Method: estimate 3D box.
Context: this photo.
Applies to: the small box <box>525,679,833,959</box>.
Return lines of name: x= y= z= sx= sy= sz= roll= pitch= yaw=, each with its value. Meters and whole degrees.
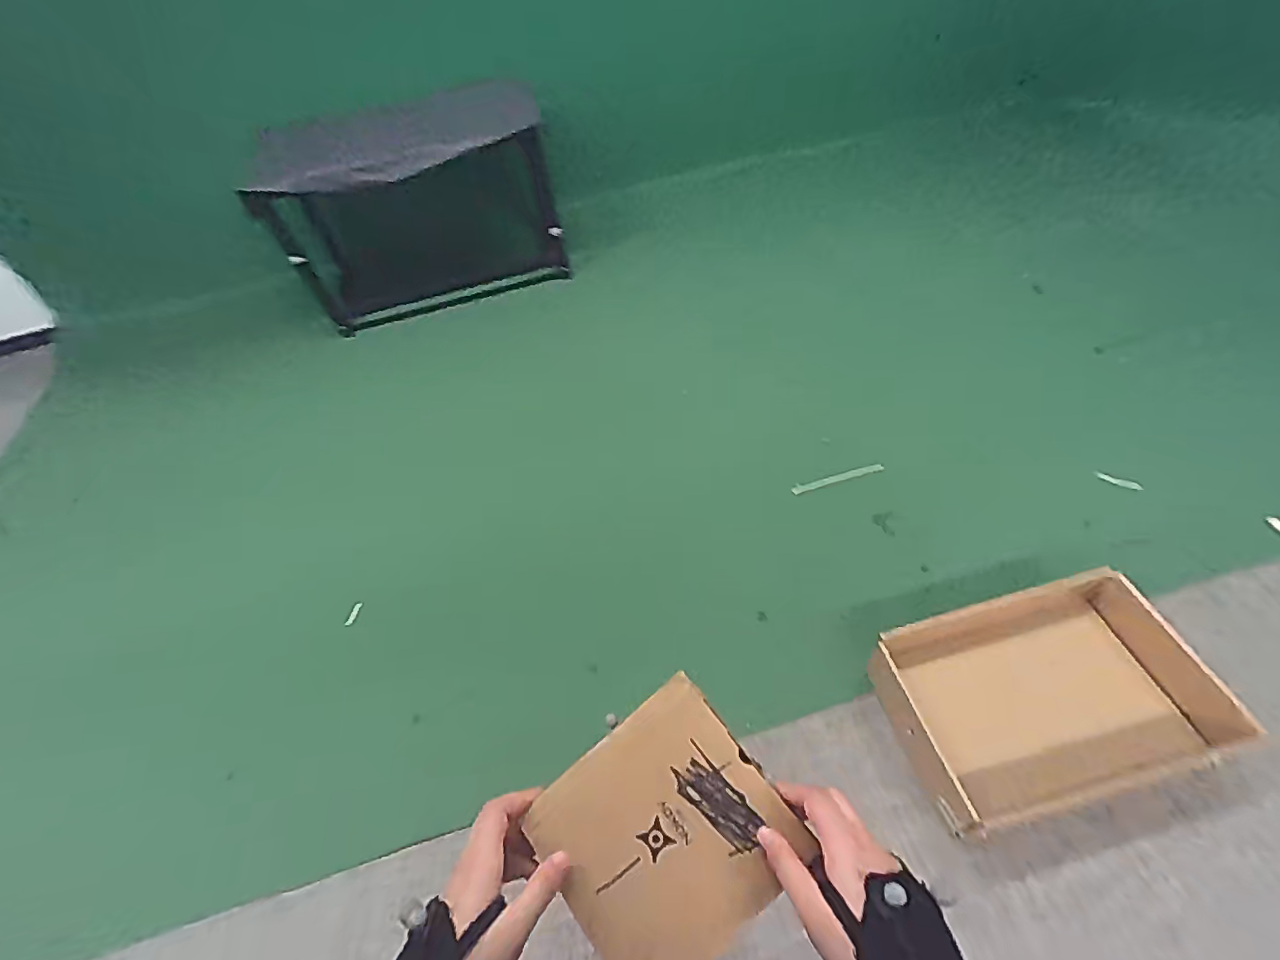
small box: x=0.029 y=0.300 z=0.476 sx=0.179 sy=0.176 sz=0.168 roll=-37 pitch=71 yaw=-12
